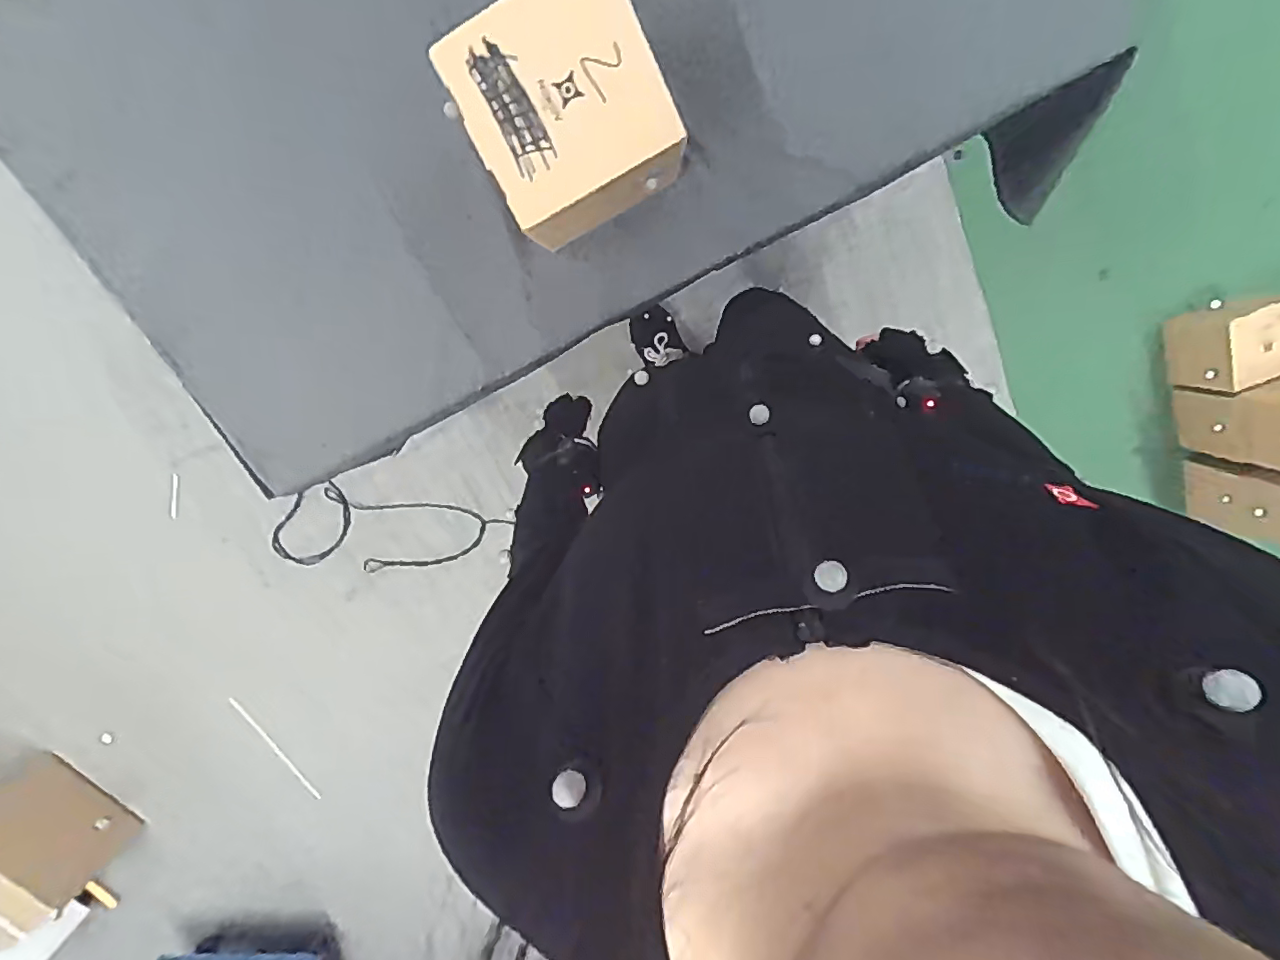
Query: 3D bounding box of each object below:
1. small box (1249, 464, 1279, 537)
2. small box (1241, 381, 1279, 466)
[{"bbox_3d":[1.590,0.048,1.254,0.168,0.176,0.179,-25,106,8],"label":"small box"},{"bbox_3d":[1.510,-0.129,1.202,0.168,0.176,0.179,-20,105,8],"label":"small box"}]
